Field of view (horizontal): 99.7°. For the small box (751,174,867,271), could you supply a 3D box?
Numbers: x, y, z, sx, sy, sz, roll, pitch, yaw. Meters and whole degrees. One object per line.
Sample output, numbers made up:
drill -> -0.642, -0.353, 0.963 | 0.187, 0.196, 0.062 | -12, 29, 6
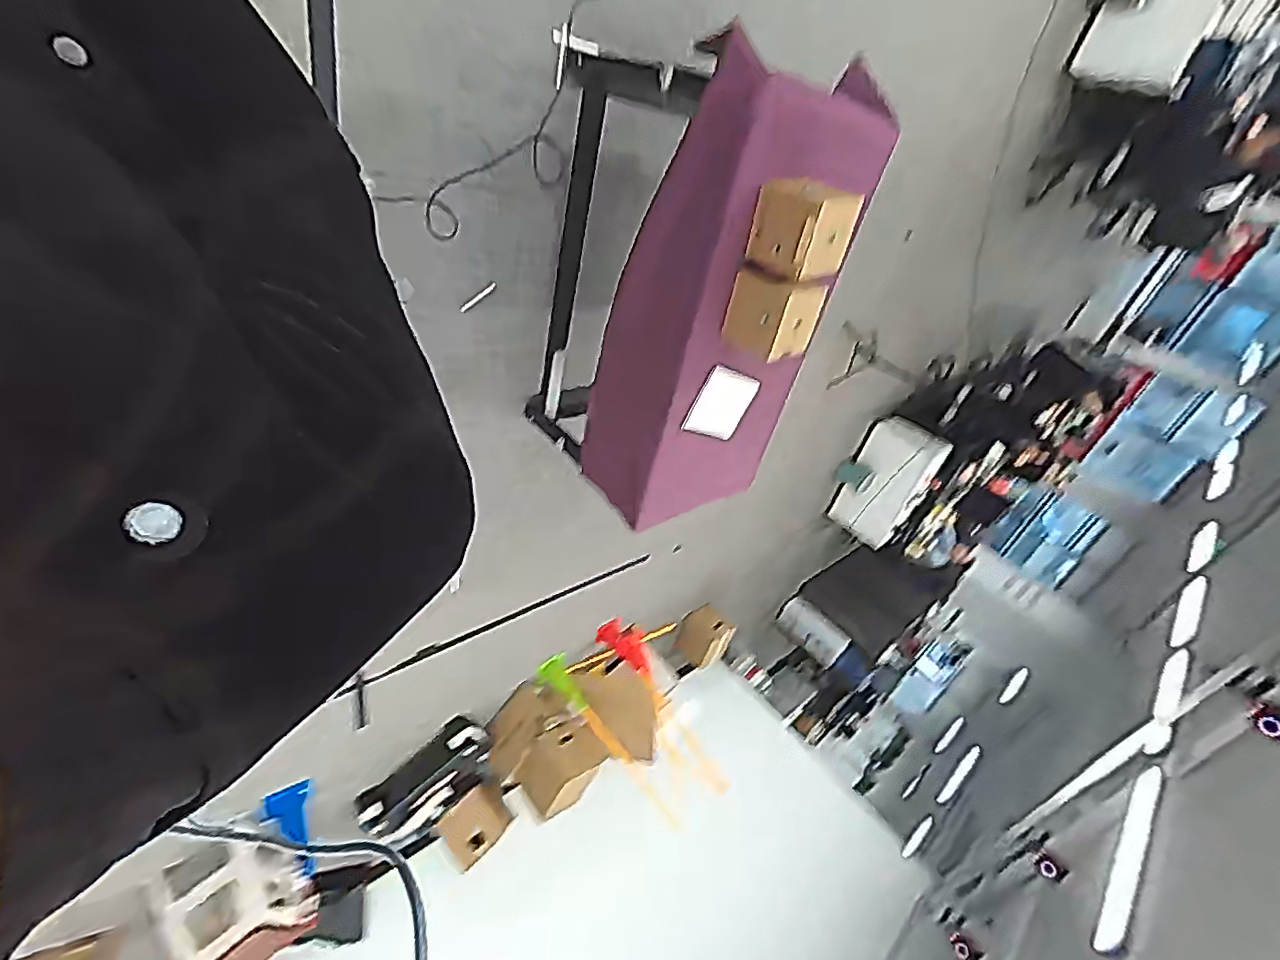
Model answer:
small box -> 0.390, -0.610, 1.274 | 0.179, 0.176, 0.168 | -24, 140, -34

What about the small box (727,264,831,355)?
small box -> 0.349, -0.445, 1.389 | 0.168, 0.176, 0.179 | -20, 138, -36
